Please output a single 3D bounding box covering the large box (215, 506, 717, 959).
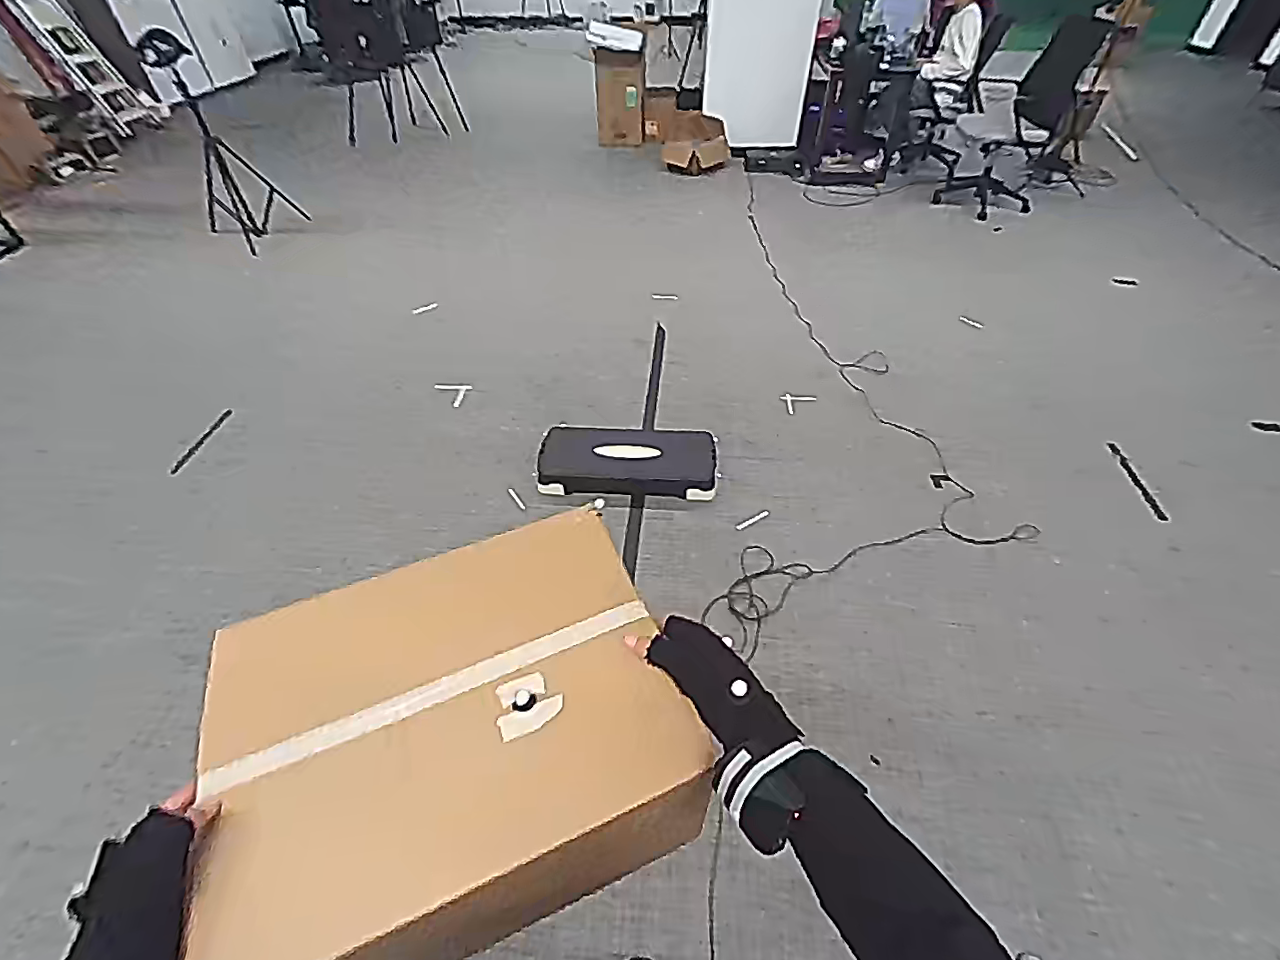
[{"bbox_3d":[-0.167,0.293,0.624,0.408,0.320,0.320,-17,49,-14],"label":"large box"}]
